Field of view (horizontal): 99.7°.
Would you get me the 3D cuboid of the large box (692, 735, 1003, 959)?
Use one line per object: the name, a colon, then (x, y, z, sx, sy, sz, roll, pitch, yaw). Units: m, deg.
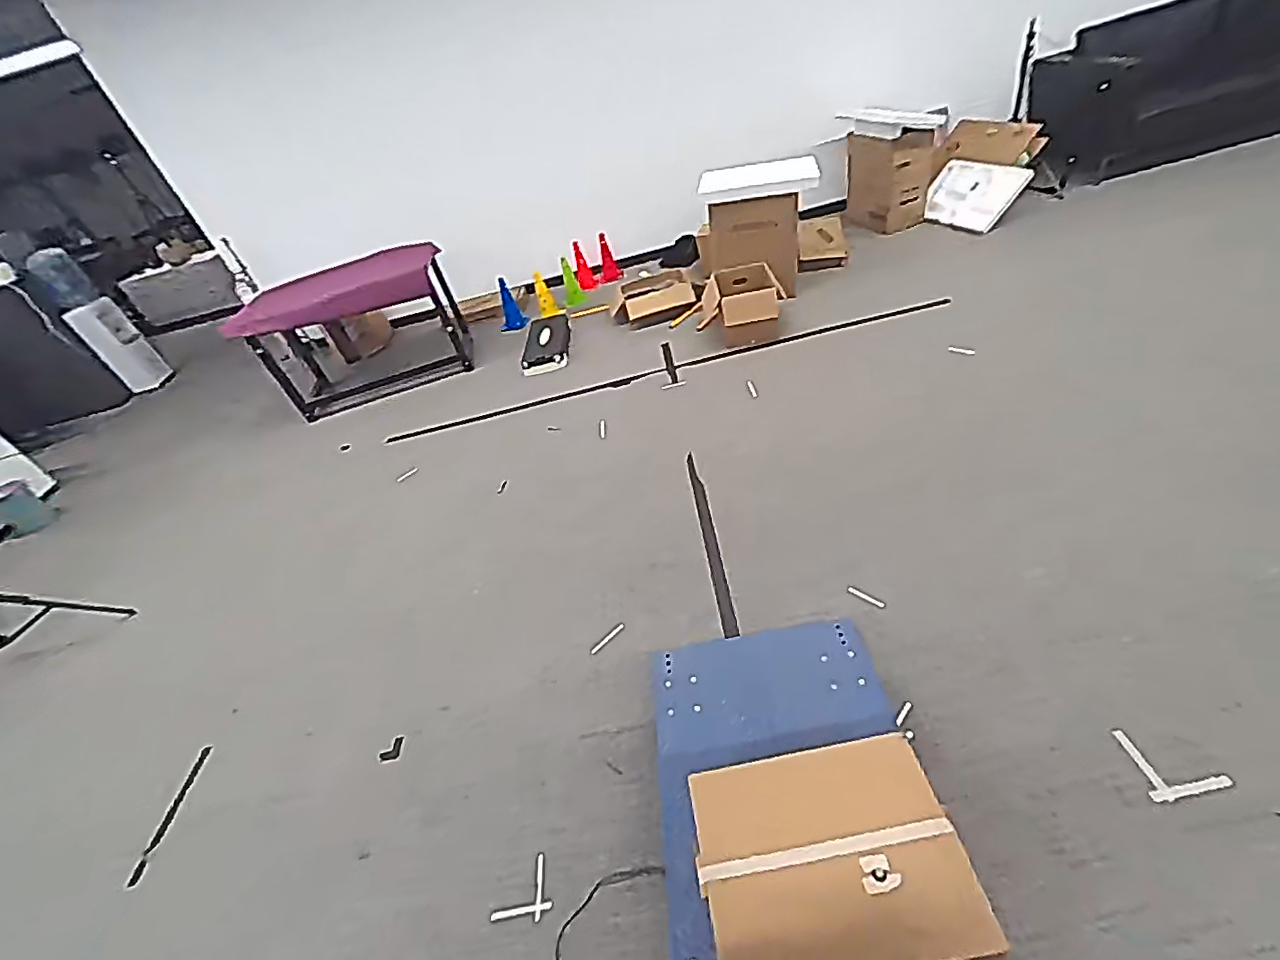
large box: (0.334, 0.721, 0.974, 0.408, 0.320, 0.320, -13, 39, 3)
